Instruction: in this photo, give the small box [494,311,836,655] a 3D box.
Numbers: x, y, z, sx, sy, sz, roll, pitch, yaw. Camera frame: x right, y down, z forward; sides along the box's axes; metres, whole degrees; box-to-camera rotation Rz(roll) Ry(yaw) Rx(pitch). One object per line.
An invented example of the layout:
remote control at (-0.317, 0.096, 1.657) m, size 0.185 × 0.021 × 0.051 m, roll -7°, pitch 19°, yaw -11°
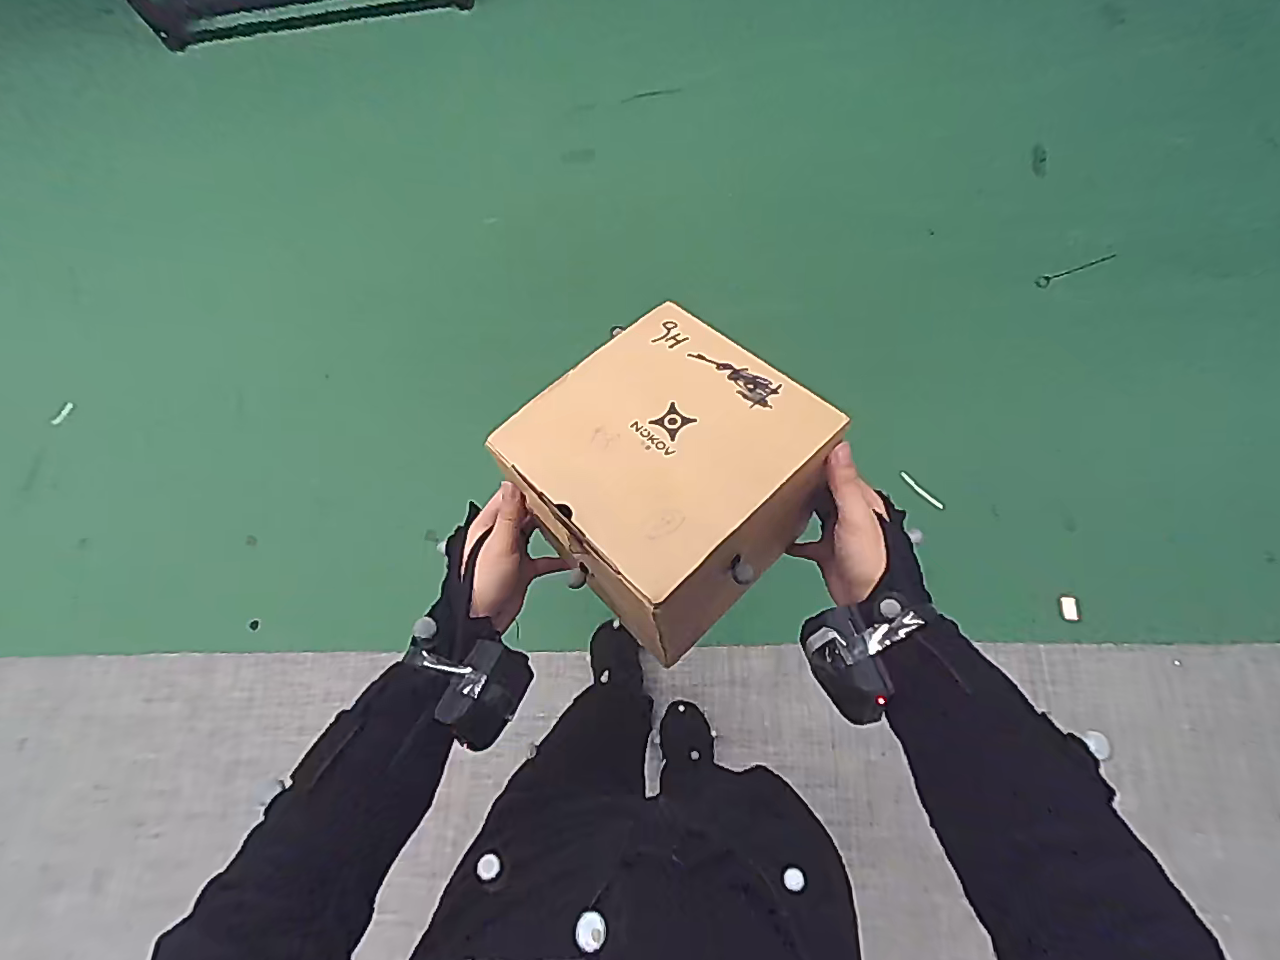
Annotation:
small box at (0.023, 0.010, 0.429) m, size 0.179 × 0.176 × 0.168 m, roll -42°, pitch 64°, yaw -16°
